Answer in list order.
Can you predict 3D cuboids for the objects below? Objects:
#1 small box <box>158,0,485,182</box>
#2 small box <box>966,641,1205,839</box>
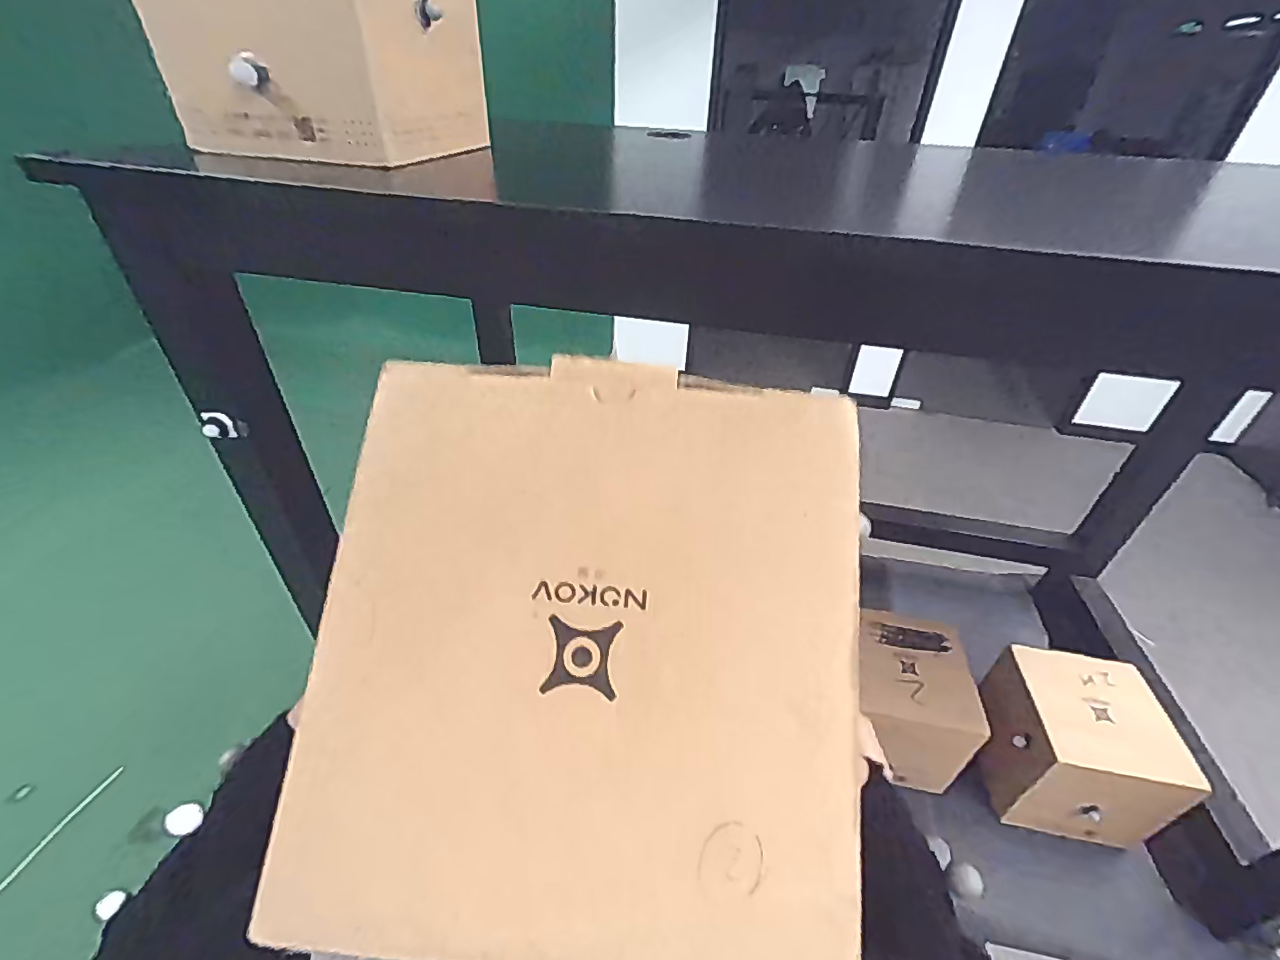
[{"bbox_3d":[-0.232,-0.344,0.417,0.168,0.176,0.179,9,38,7],"label":"small box"},{"bbox_3d":[0.588,0.358,0.747,0.168,0.176,0.179,9,36,7],"label":"small box"}]
